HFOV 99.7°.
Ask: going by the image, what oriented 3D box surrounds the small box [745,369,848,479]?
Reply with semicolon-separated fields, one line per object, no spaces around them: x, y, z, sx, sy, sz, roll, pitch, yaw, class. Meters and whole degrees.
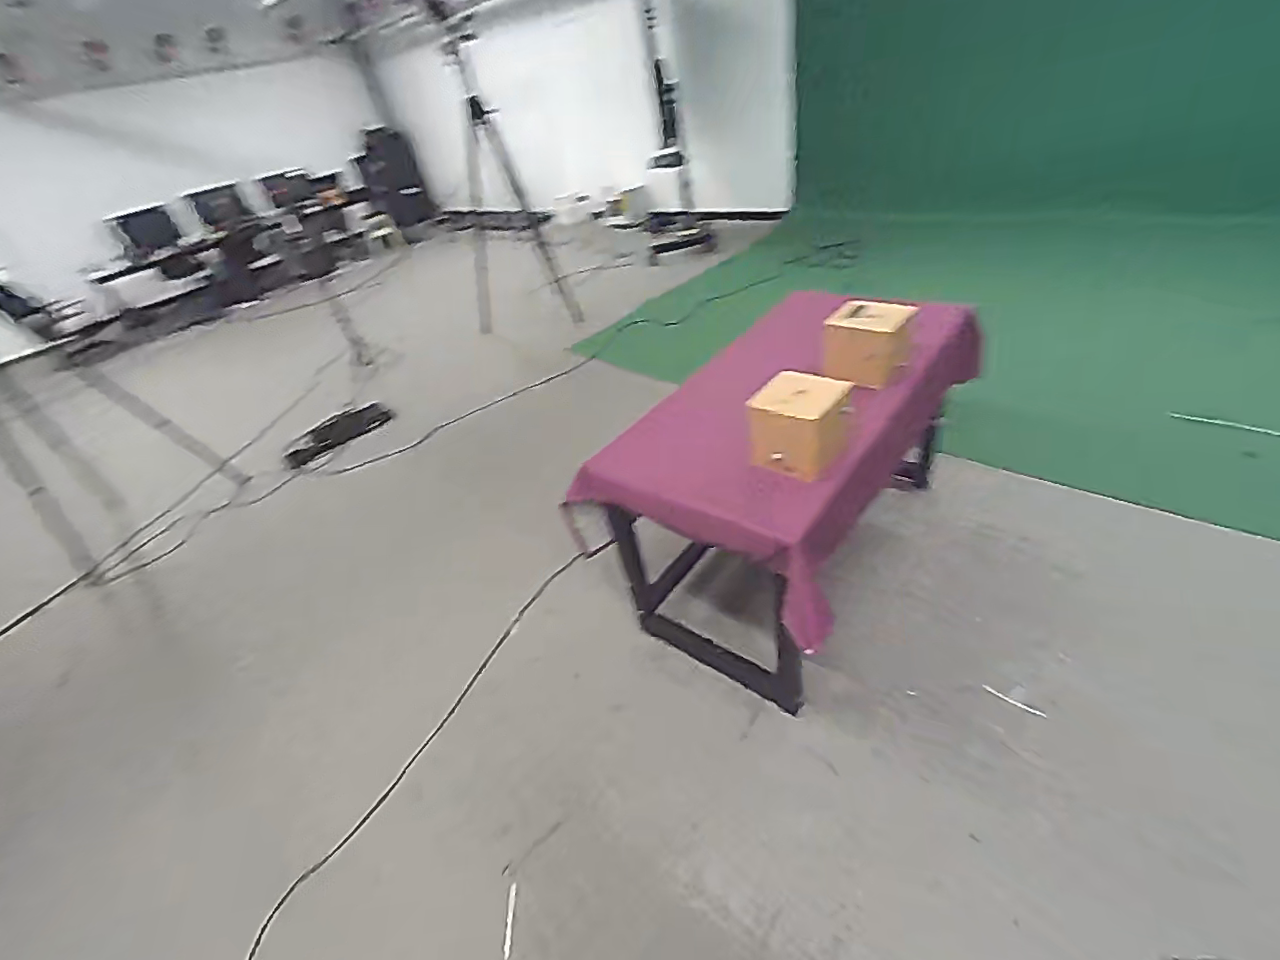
0.359;-0.131;1.246;0.168;0.176;0.179;21;49;38;small box
